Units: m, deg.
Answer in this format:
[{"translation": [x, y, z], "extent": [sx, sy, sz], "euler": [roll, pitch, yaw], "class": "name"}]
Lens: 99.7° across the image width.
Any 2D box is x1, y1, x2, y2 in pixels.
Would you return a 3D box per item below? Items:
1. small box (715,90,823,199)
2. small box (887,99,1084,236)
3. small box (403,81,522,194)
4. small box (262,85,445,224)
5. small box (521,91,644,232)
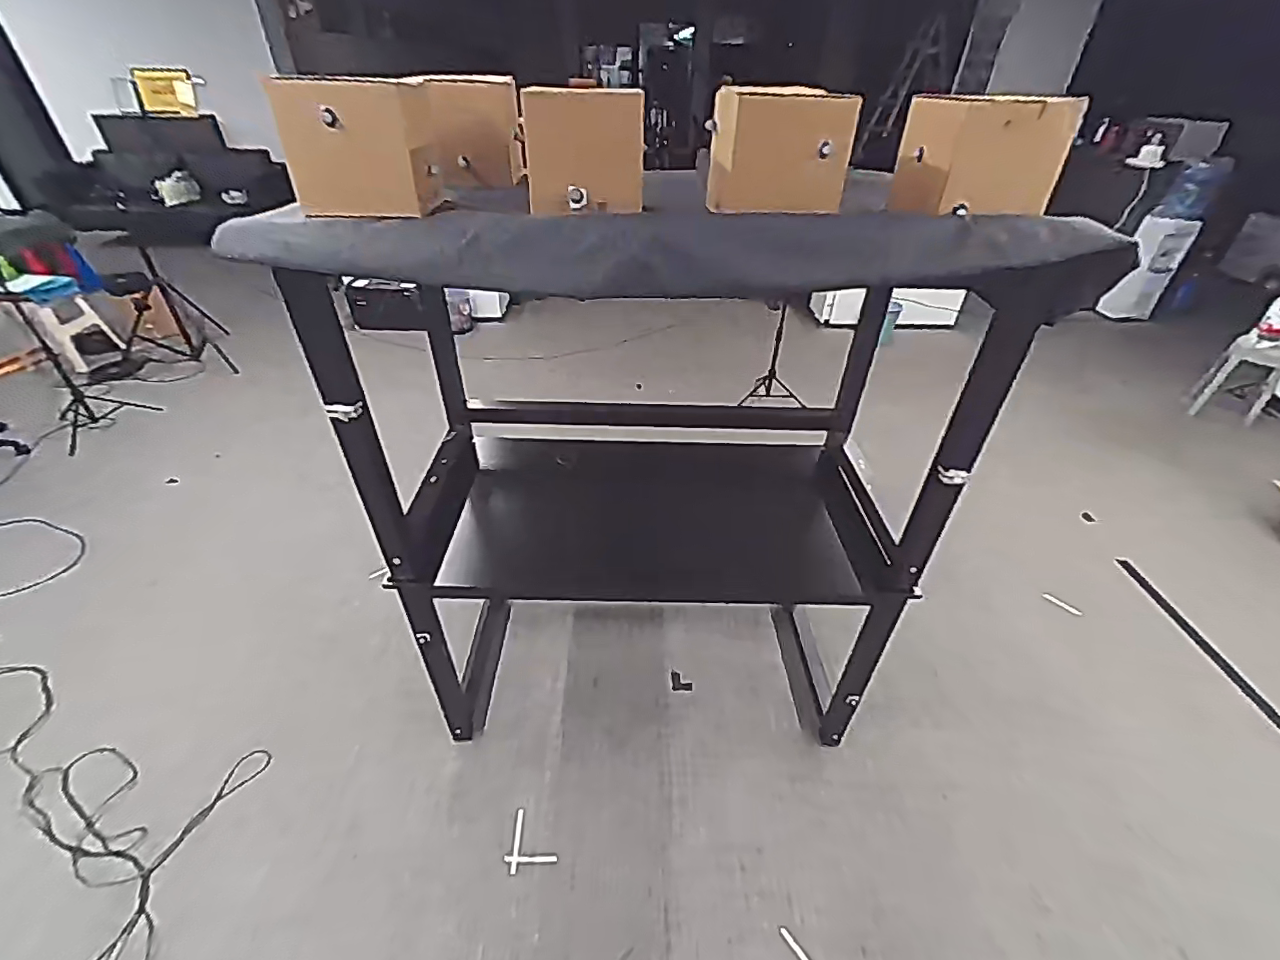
[{"translation": [0.245, -0.665, 1.072], "extent": [0.168, 0.176, 0.179], "euler": [0, 37, -1], "class": "small box"}, {"translation": [0.513, -0.483, 0.835], "extent": [0.168, 0.176, 0.179], "euler": [-1, 36, -3], "class": "small box"}, {"translation": [-0.332, -0.665, 1.053], "extent": [0.179, 0.176, 0.168], "euler": [0, 37, -3], "class": "small box"}, {"translation": [-0.415, -0.493, 0.821], "extent": [0.179, 0.176, 0.168], "euler": [-1, 36, -4], "class": "small box"}, {"translation": [-0.084, -0.489, 0.830], "extent": [0.168, 0.176, 0.179], "euler": [-3, 36, -4], "class": "small box"}]
